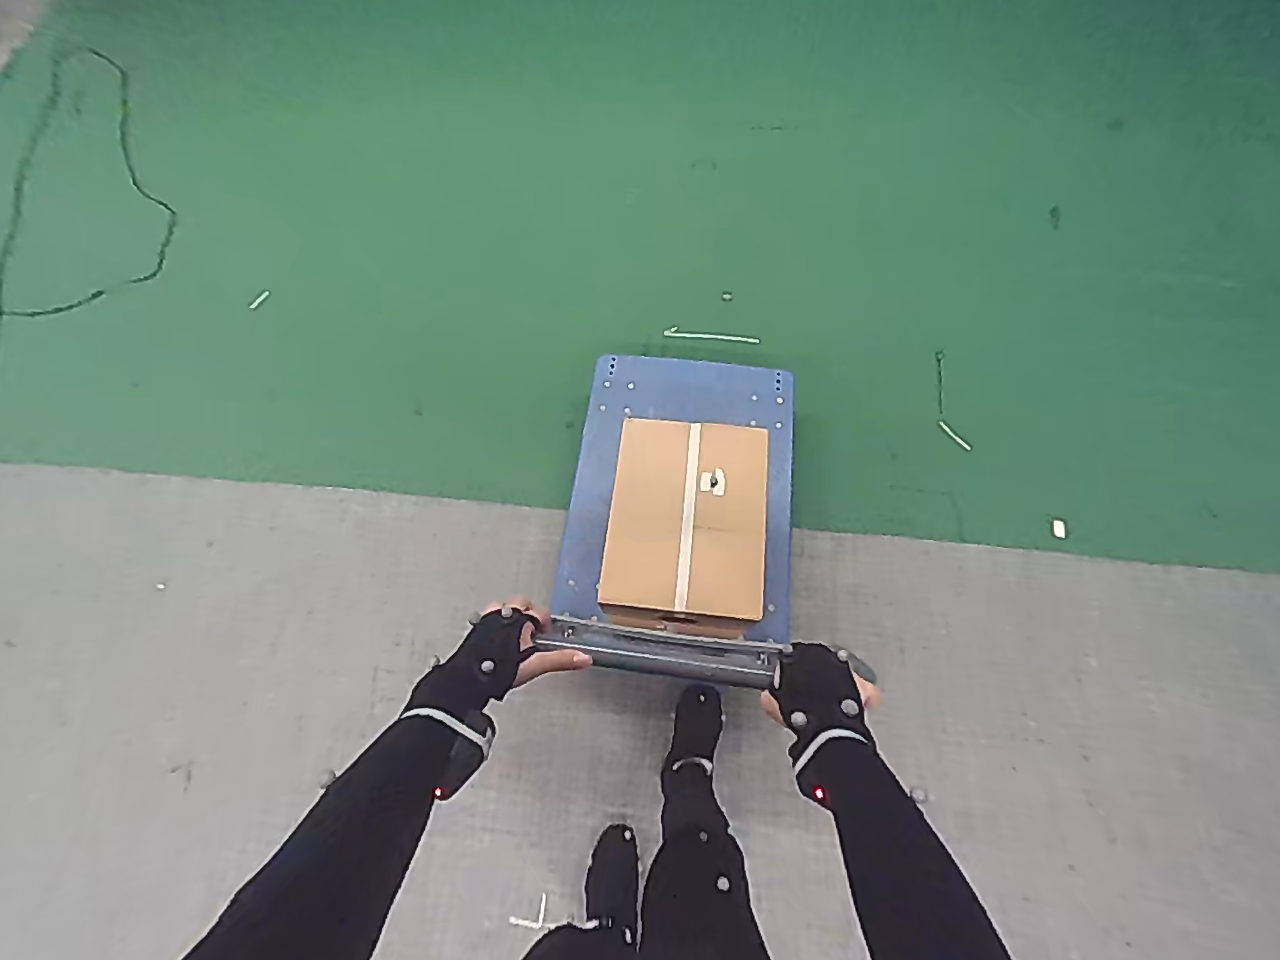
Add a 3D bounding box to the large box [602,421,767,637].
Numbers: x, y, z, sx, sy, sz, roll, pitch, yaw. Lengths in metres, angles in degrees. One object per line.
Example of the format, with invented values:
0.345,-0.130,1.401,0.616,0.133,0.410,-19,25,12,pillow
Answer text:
0.106,0.123,1.227,0.320,0.320,0.408,6,67,4,large box
